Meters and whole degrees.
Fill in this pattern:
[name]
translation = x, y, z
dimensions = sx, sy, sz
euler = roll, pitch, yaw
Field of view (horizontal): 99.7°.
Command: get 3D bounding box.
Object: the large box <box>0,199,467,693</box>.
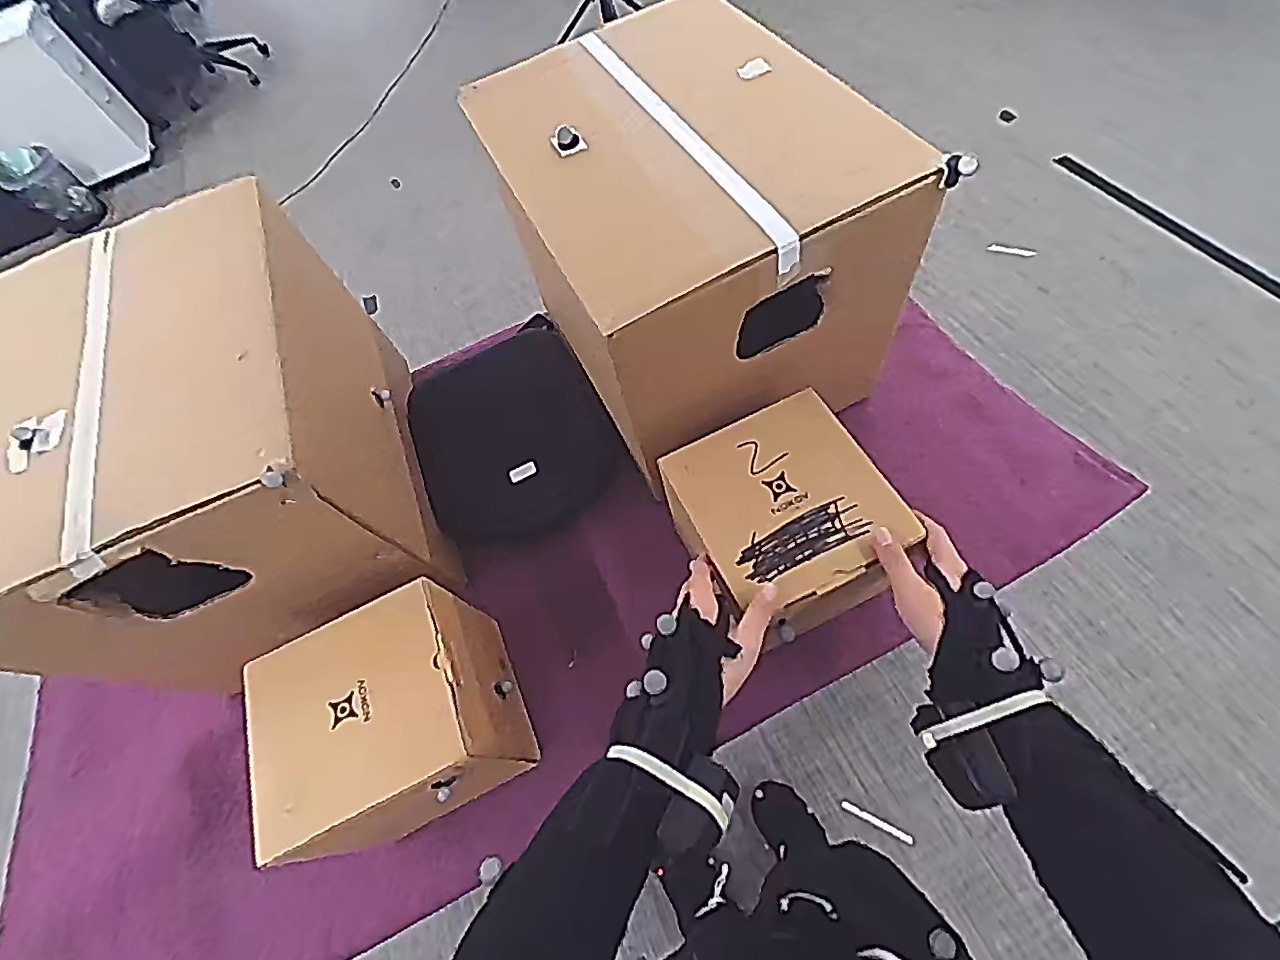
[large box]
translation = -0.448, -0.023, 0.620
dimensions = 0.320, 0.320, 0.408
euler = -26, 64, -3
